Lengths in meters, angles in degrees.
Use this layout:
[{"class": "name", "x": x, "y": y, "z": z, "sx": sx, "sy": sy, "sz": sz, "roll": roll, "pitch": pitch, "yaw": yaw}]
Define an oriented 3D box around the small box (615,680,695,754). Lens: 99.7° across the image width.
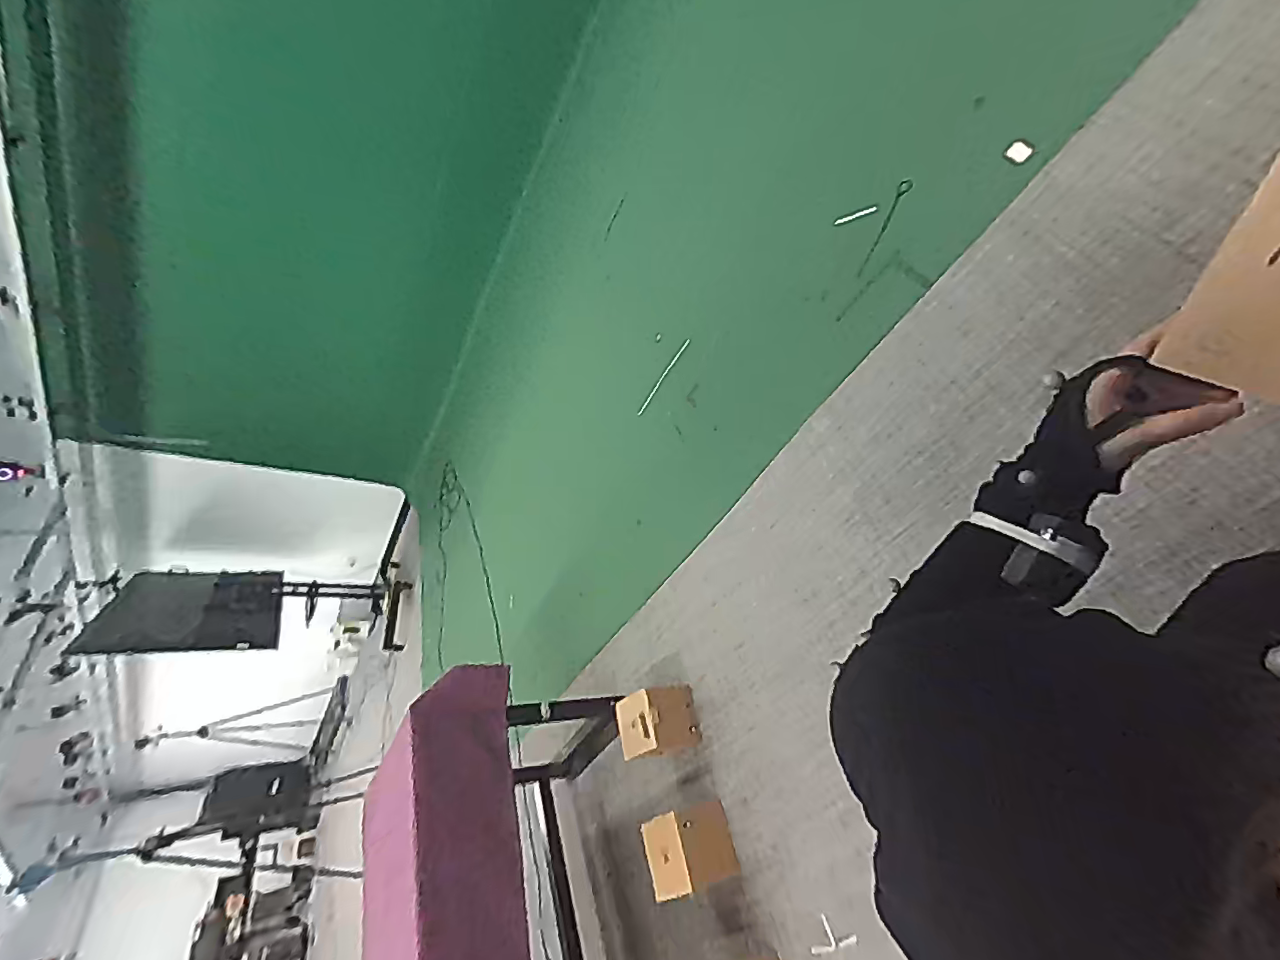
[{"class": "small box", "x": 0.050, "y": 0.715, "z": 1.638, "sx": 0.179, "sy": 0.176, "sz": 0.168, "roll": -46, "pitch": 45, "yaw": 40}]
